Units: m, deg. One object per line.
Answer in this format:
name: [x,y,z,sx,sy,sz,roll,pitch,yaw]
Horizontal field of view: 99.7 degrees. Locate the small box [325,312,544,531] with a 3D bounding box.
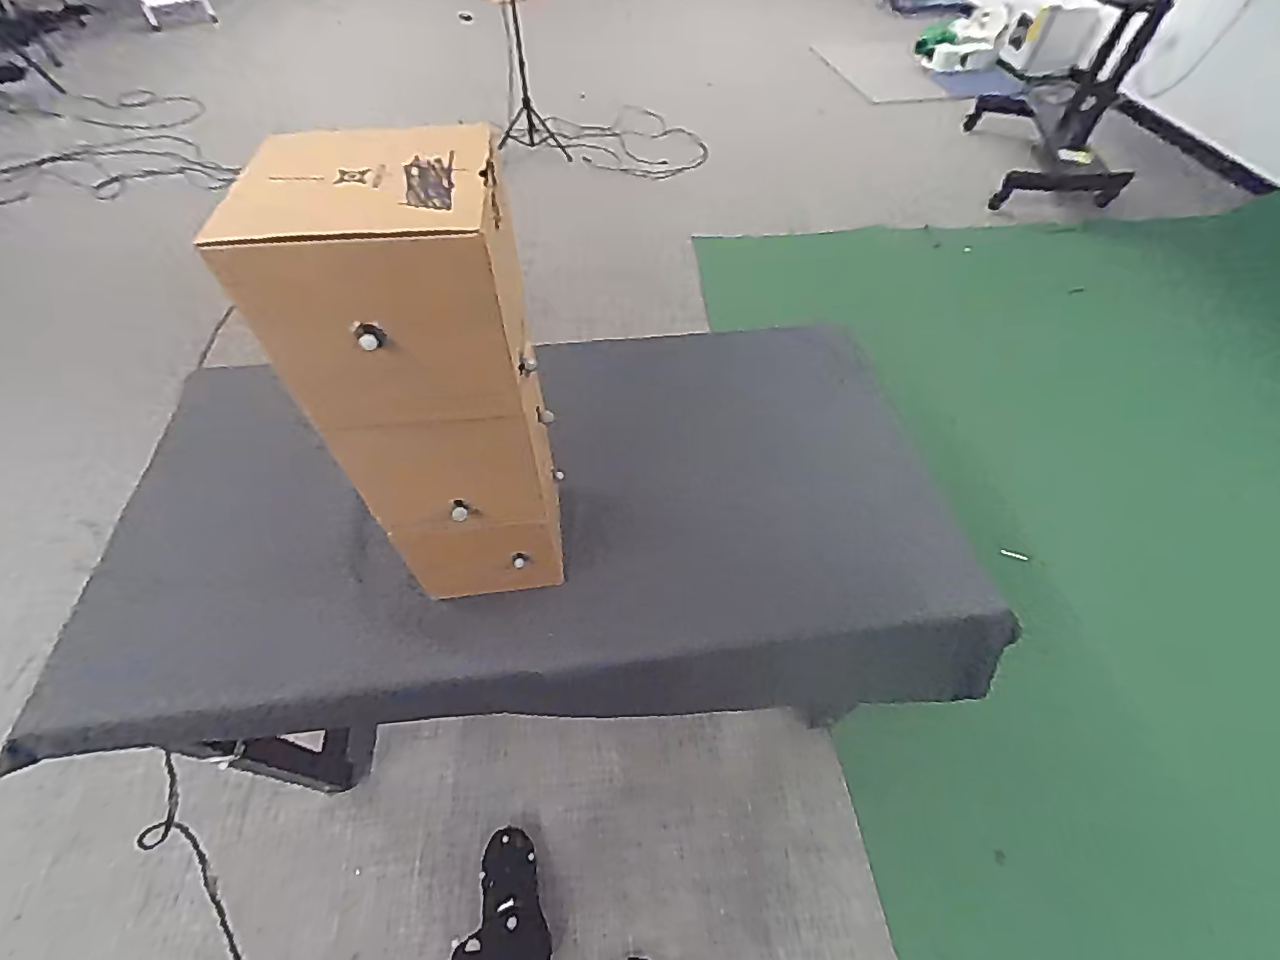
small box: [-0.200,-0.062,0.582,0.179,0.176,0.168,-8,55,-6]

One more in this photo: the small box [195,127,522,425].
small box: [-0.197,-0.163,0.448,0.179,0.176,0.168,-5,53,-4]

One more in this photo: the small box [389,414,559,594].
small box: [-0.202,0.034,0.711,0.179,0.176,0.168,-7,53,-4]
